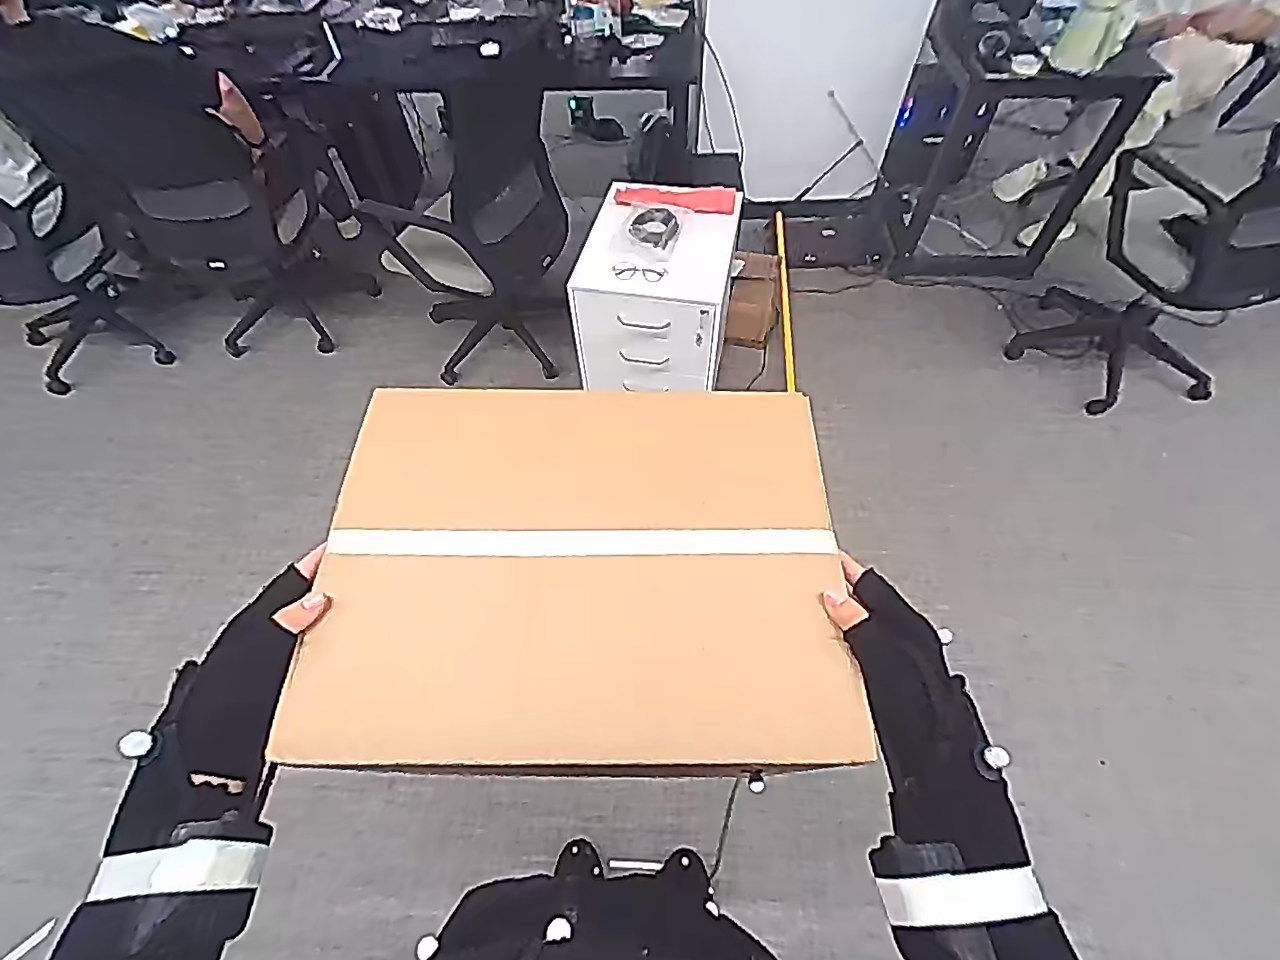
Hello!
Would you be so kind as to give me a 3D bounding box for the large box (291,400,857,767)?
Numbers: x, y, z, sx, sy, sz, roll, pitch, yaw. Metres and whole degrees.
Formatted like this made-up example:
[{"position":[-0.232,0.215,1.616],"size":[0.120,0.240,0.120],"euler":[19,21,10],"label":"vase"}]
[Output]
[{"position":[-0.046,0.130,0.576],"size":[0.408,0.320,0.320],"euler":[0,60,-1],"label":"large box"}]
